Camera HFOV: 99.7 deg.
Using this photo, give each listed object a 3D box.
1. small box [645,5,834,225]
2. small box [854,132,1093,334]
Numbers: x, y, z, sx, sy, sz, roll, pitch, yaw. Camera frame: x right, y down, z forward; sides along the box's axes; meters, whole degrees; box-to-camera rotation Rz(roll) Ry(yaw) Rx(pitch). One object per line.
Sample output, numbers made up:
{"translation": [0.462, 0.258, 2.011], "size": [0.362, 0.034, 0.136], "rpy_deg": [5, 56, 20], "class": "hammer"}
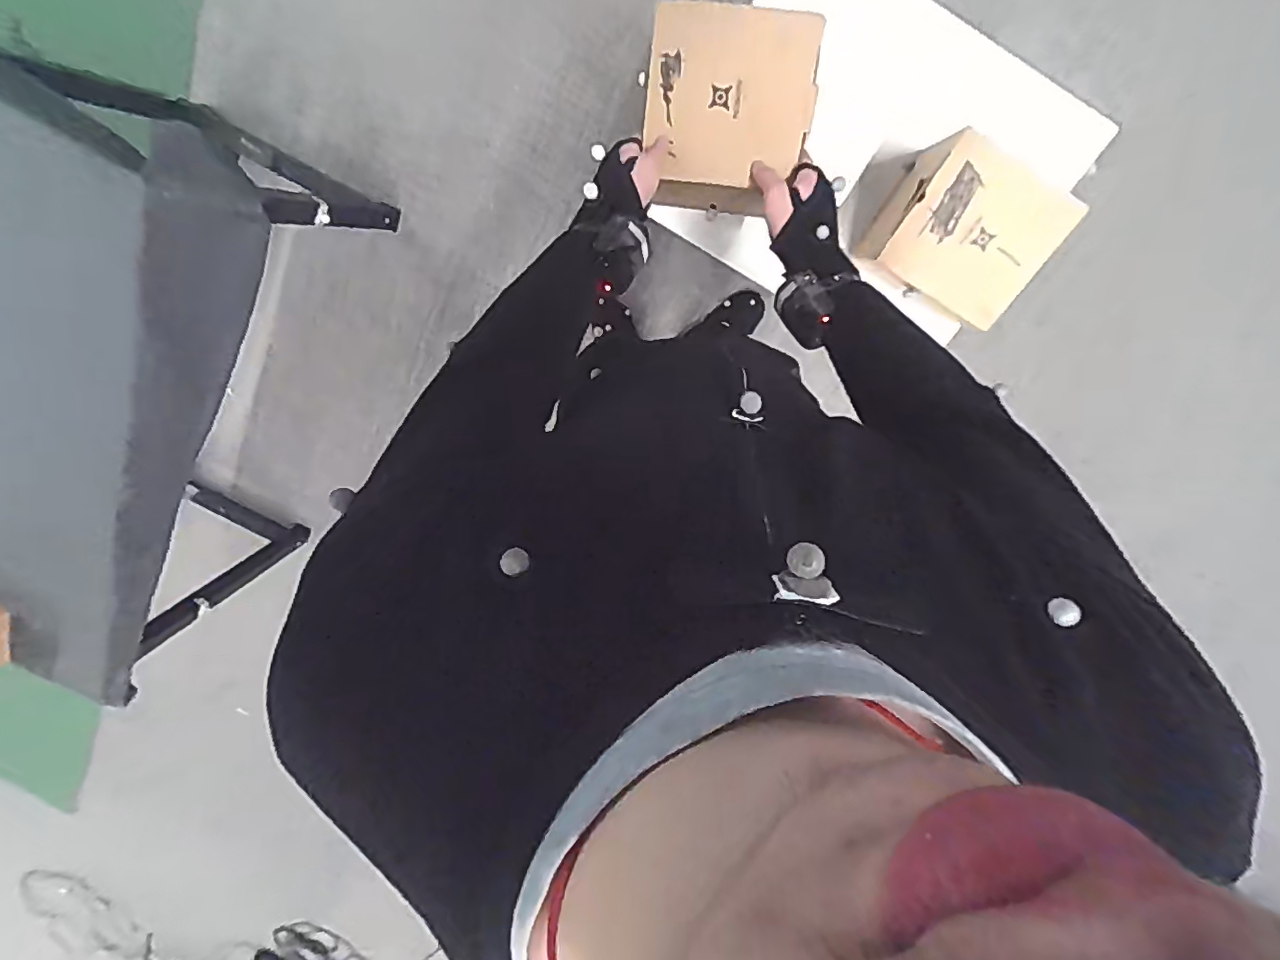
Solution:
{"translation": [0.102, -0.407, 0.636], "size": [0.179, 0.176, 0.168], "rpy_deg": [6, 106, 1], "class": "small box"}
{"translation": [0.419, -0.315, 0.718], "size": [0.179, 0.176, 0.168], "rpy_deg": [29, 112, -6], "class": "small box"}
